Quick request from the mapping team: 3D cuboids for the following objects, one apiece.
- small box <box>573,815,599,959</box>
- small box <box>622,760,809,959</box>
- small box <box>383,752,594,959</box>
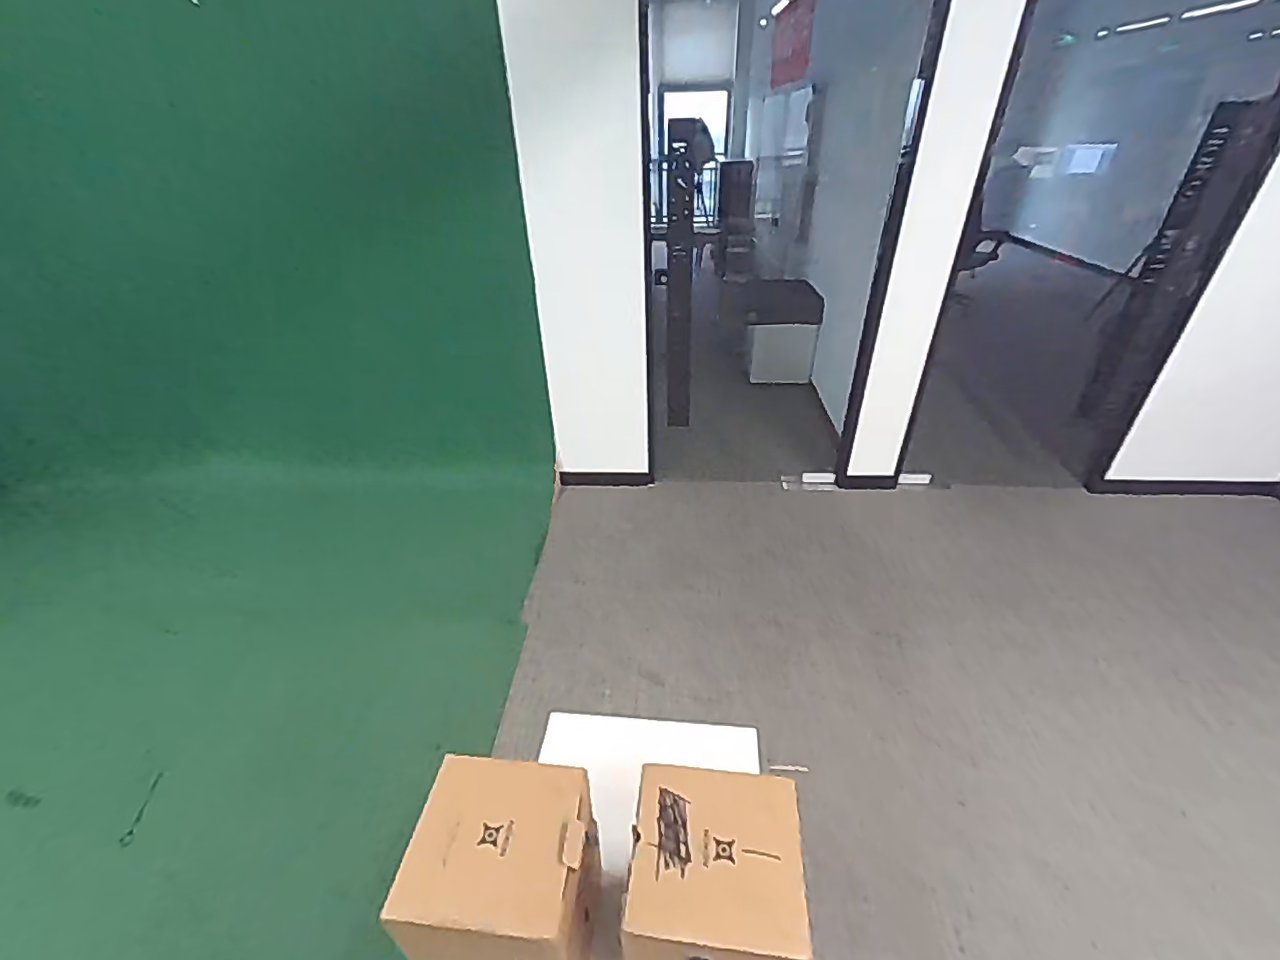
[{"bbox_3d":[-0.149,0.570,0.723,0.168,0.176,0.179,4,34,5],"label":"small box"},{"bbox_3d":[0.082,0.445,0.604,0.179,0.176,0.168,3,34,8],"label":"small box"},{"bbox_3d":[-0.152,0.443,0.620,0.179,0.176,0.168,2,33,5],"label":"small box"}]
